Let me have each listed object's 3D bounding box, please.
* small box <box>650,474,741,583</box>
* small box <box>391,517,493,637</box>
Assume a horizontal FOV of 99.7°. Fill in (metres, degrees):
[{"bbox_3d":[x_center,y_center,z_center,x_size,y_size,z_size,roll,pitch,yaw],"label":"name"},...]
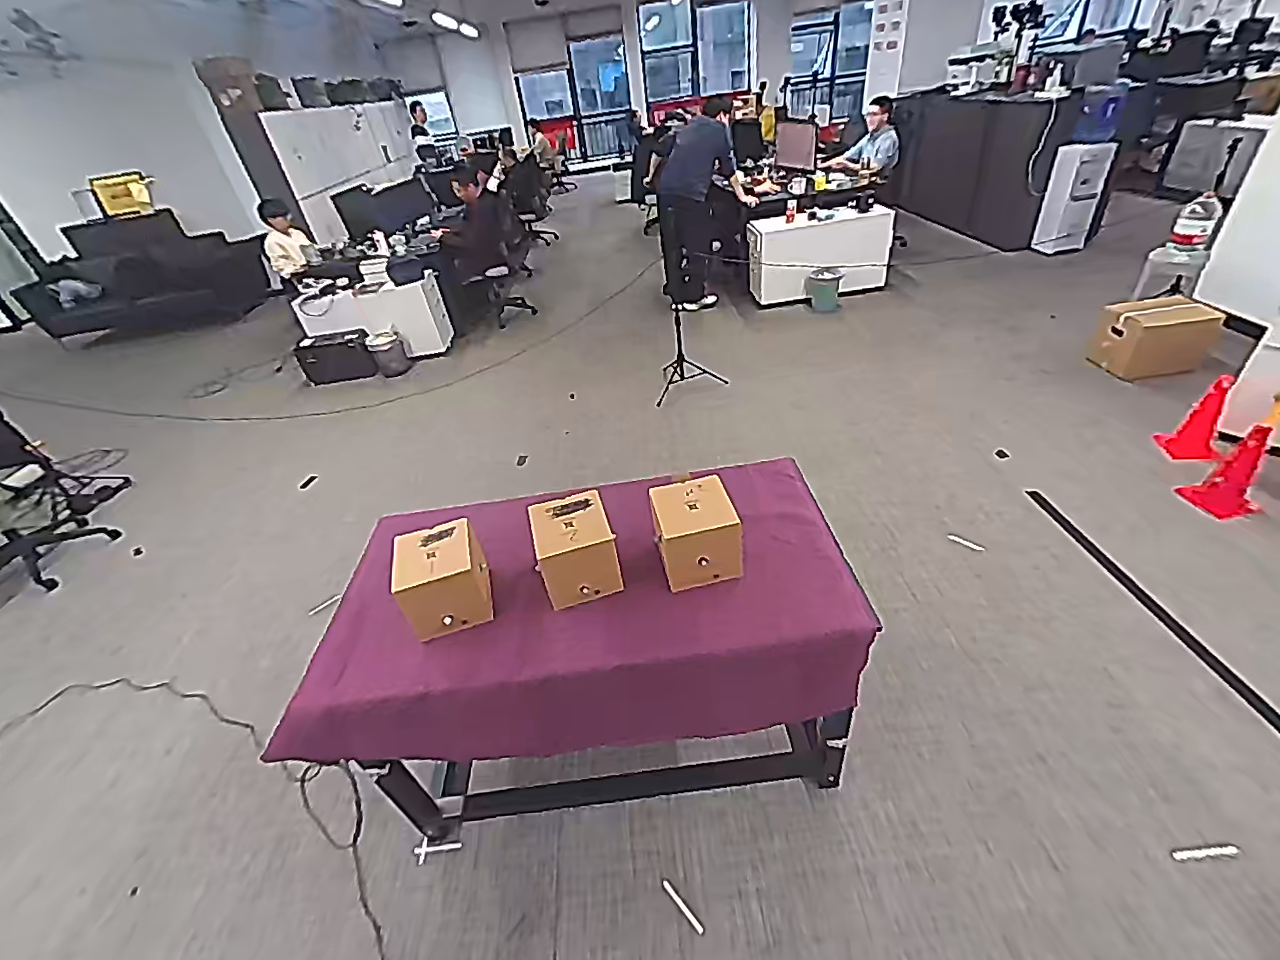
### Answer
[{"bbox_3d":[0.126,0.115,1.226,0.168,0.176,0.179,-11,36,-3],"label":"small box"},{"bbox_3d":[-0.438,0.217,1.213,0.168,0.176,0.179,-16,38,-9],"label":"small box"}]
